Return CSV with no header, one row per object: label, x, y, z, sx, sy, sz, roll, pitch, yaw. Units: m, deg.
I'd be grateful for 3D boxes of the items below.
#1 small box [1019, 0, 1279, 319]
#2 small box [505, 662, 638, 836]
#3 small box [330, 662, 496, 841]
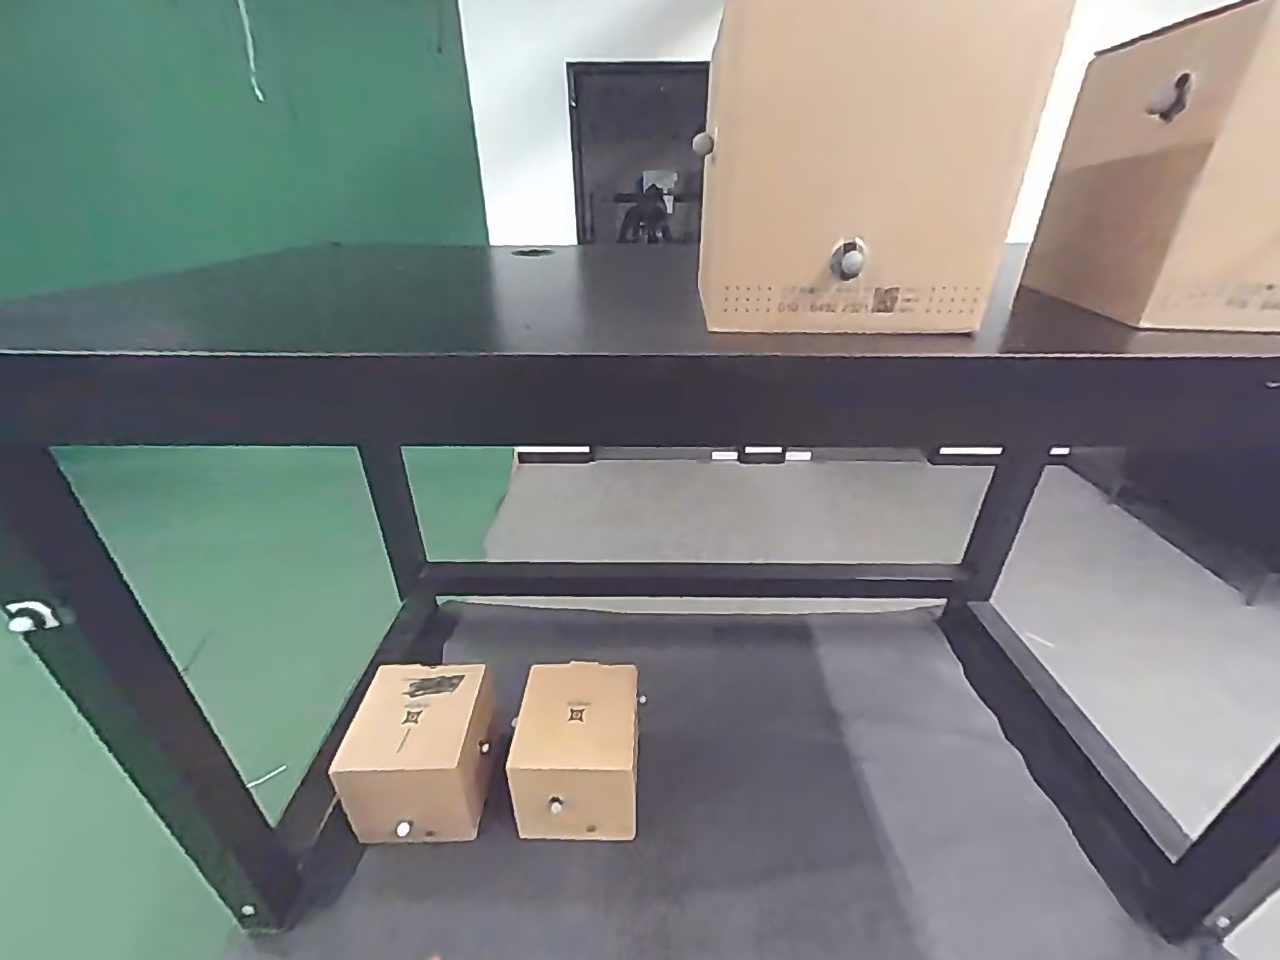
small box,0.402,-0.208,0.365,0.168,0.176,0.179,5,28,9
small box,-0.089,0.394,0.800,0.168,0.176,0.179,0,28,1
small box,-0.316,0.394,0.797,0.168,0.176,0.179,-1,29,-1
